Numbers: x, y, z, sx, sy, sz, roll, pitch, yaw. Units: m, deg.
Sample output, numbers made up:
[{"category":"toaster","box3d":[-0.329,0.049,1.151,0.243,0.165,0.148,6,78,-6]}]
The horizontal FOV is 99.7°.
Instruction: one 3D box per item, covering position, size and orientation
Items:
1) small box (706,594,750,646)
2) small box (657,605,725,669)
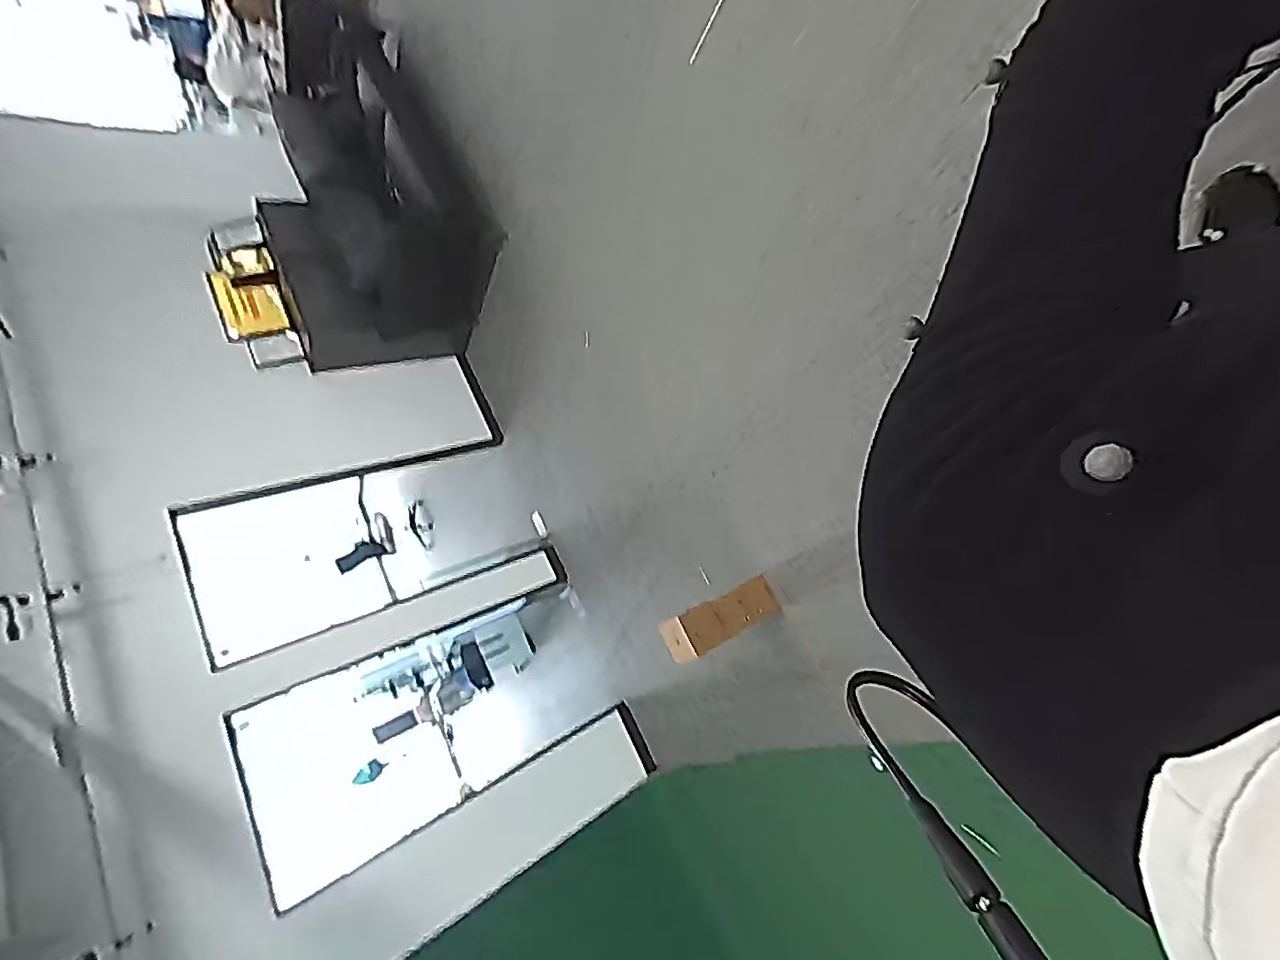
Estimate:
[{"category":"small box","box3d":[0.331,0.591,2.238,0.168,0.176,0.179,62,144,16]},{"category":"small box","box3d":[0.204,0.619,2.135,0.168,0.176,0.179,-46,66,51]}]
